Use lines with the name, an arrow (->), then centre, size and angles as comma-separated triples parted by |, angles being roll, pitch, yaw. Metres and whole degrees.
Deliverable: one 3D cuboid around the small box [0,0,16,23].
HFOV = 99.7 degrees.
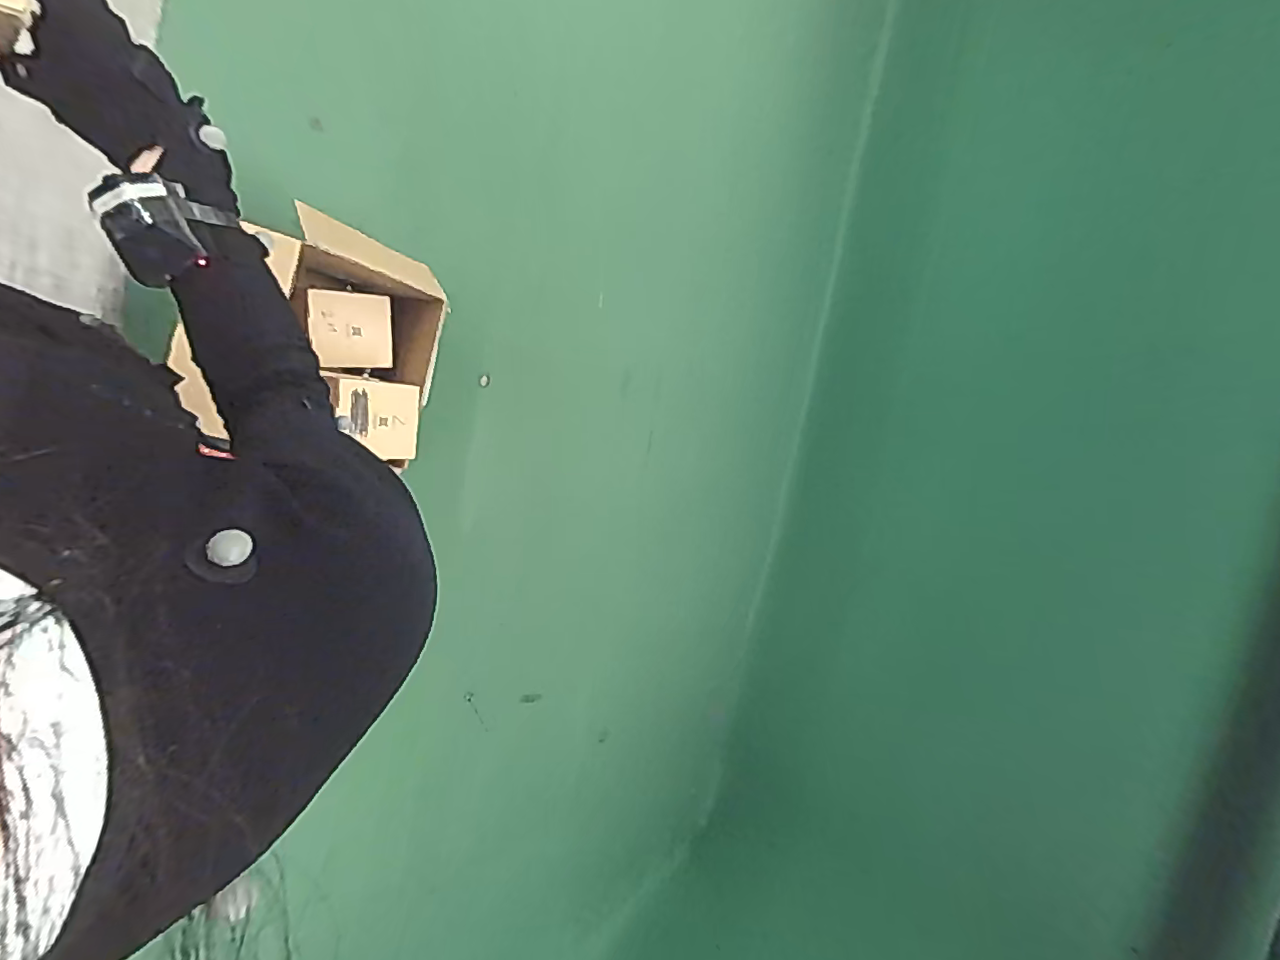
small box -> -0.445, -0.365, 0.262 | 0.168, 0.176, 0.179 | -10, 120, -50
